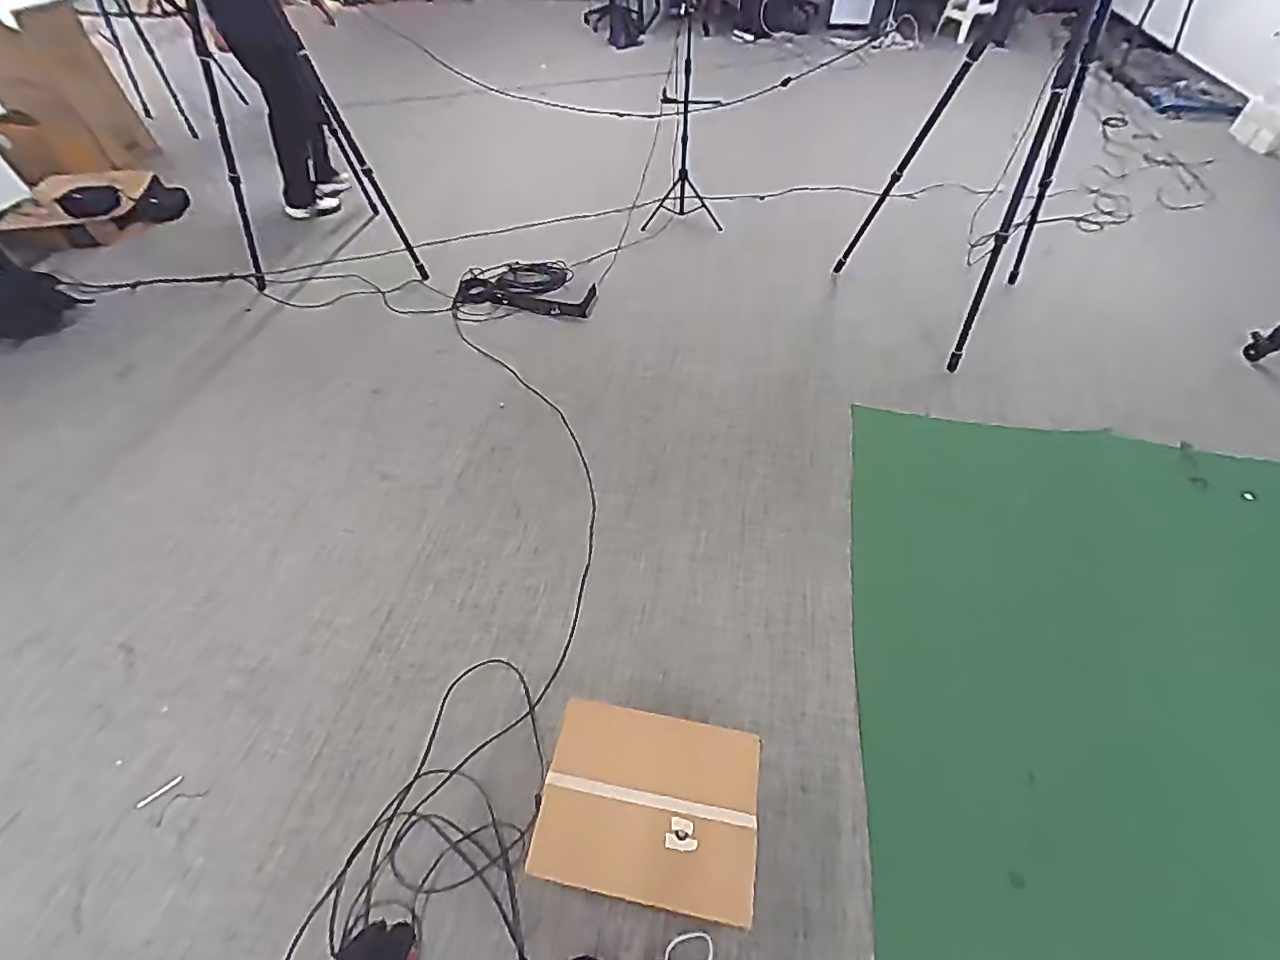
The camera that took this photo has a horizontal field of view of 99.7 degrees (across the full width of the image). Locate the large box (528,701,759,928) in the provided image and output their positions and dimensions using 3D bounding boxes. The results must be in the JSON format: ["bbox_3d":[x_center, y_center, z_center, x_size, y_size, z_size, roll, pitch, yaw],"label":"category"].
[{"bbox_3d":[0.016,0.705,1.140,0.408,0.320,0.320,9,51,6],"label":"large box"}]
